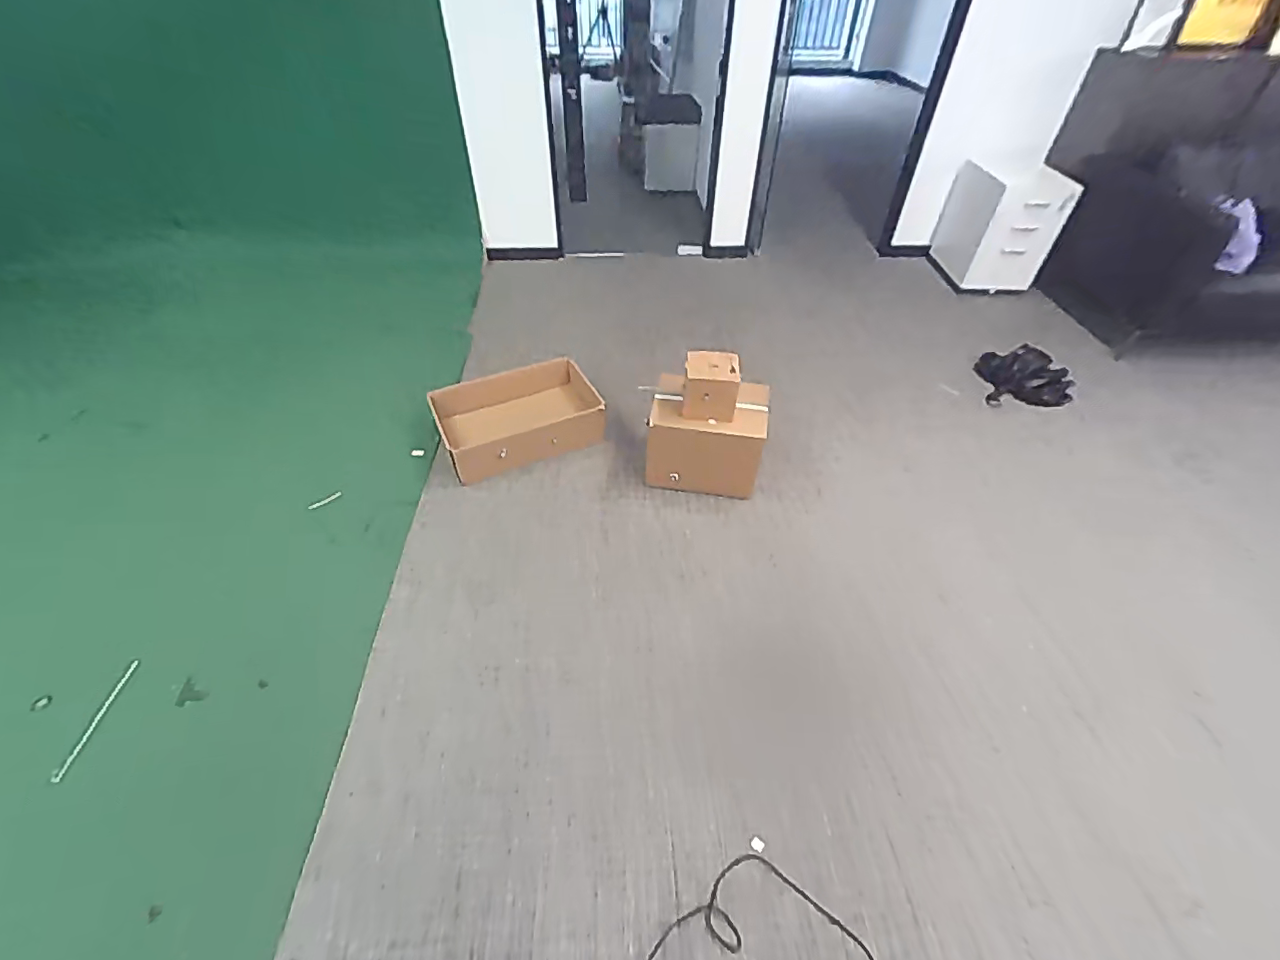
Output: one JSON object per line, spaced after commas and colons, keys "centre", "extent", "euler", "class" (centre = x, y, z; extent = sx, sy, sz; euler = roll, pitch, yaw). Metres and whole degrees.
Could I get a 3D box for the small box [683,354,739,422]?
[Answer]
{"centre": [0.239, -0.315, 1.856], "extent": [0.179, 0.176, 0.168], "euler": [3, 46, 3], "class": "small box"}
